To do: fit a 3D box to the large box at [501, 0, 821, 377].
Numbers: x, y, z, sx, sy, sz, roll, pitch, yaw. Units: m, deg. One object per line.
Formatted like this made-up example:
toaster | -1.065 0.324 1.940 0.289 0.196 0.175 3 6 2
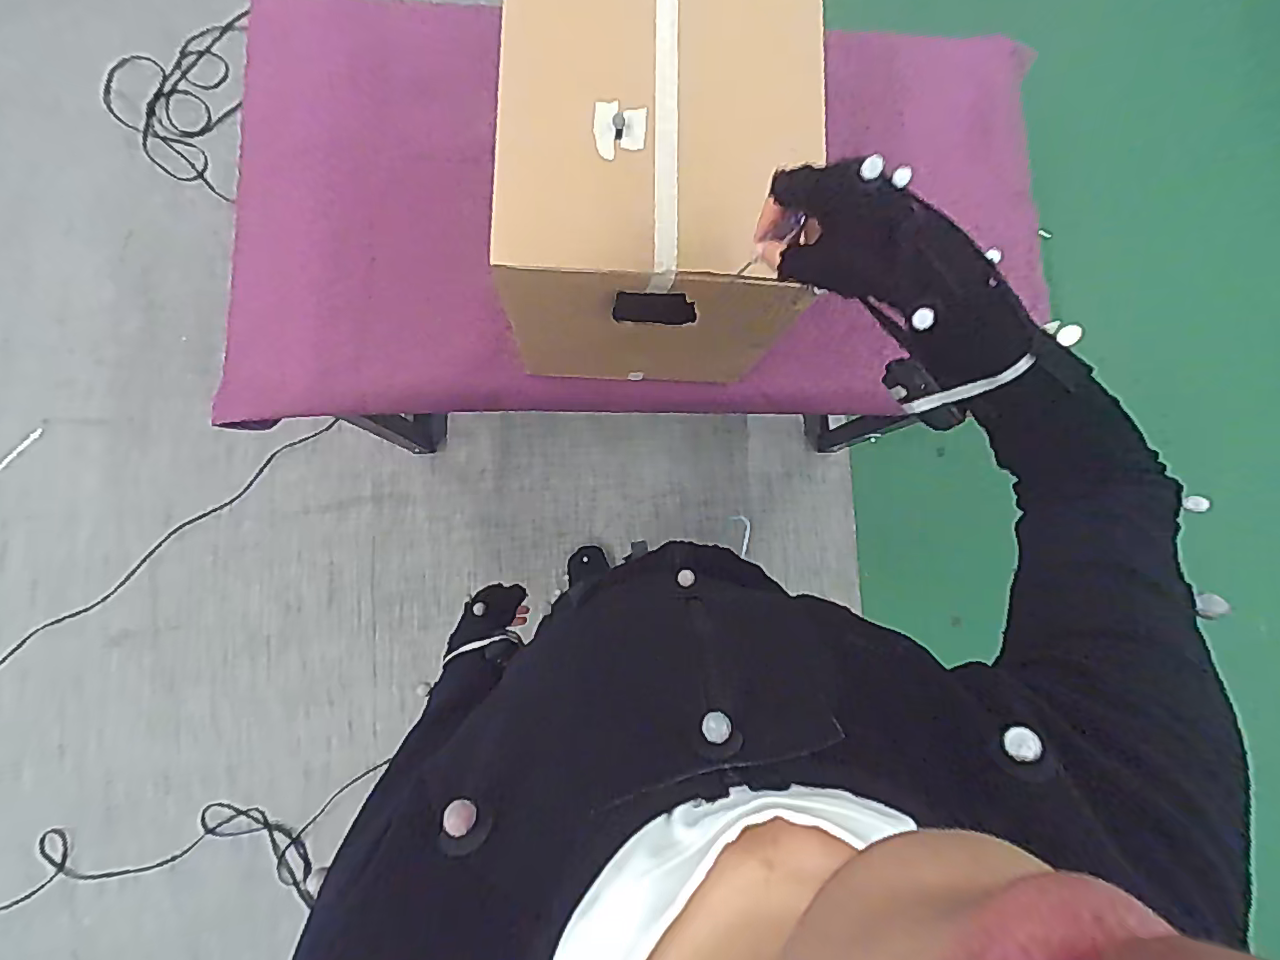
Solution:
large box | 0.009 -0.372 0.676 0.320 0.320 0.408 2 84 -5
